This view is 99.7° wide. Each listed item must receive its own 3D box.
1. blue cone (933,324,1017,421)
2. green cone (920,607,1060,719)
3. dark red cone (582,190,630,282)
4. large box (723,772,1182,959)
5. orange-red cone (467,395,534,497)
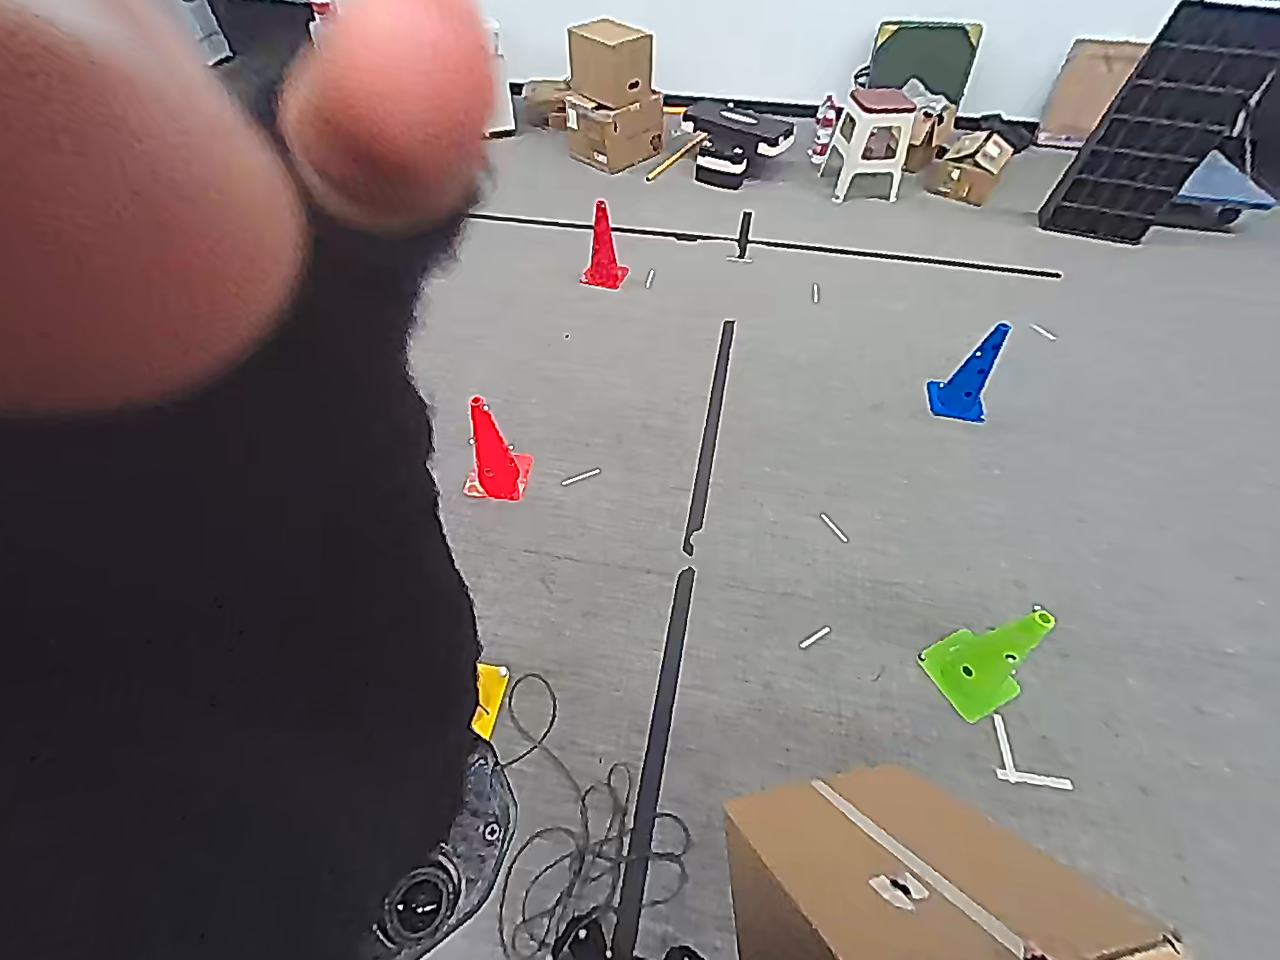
[{"bbox_3d":[1.264,-0.414,2.008,0.192,0.380,0.193,12,53,7],"label":"blue cone"},{"bbox_3d":[0.896,0.413,1.328,0.202,0.368,0.200,-20,55,-18],"label":"green cone"},{"bbox_3d":[-0.161,-1.131,2.503,0.201,0.394,0.202,15,53,9],"label":"dark red cone"},{"bbox_3d":[0.322,0.610,0.645,0.320,0.408,0.320,-4,85,-12],"label":"large box"},{"bbox_3d":[-0.482,-0.130,1.739,0.198,0.360,0.199,7,53,6],"label":"orange-red cone"}]
